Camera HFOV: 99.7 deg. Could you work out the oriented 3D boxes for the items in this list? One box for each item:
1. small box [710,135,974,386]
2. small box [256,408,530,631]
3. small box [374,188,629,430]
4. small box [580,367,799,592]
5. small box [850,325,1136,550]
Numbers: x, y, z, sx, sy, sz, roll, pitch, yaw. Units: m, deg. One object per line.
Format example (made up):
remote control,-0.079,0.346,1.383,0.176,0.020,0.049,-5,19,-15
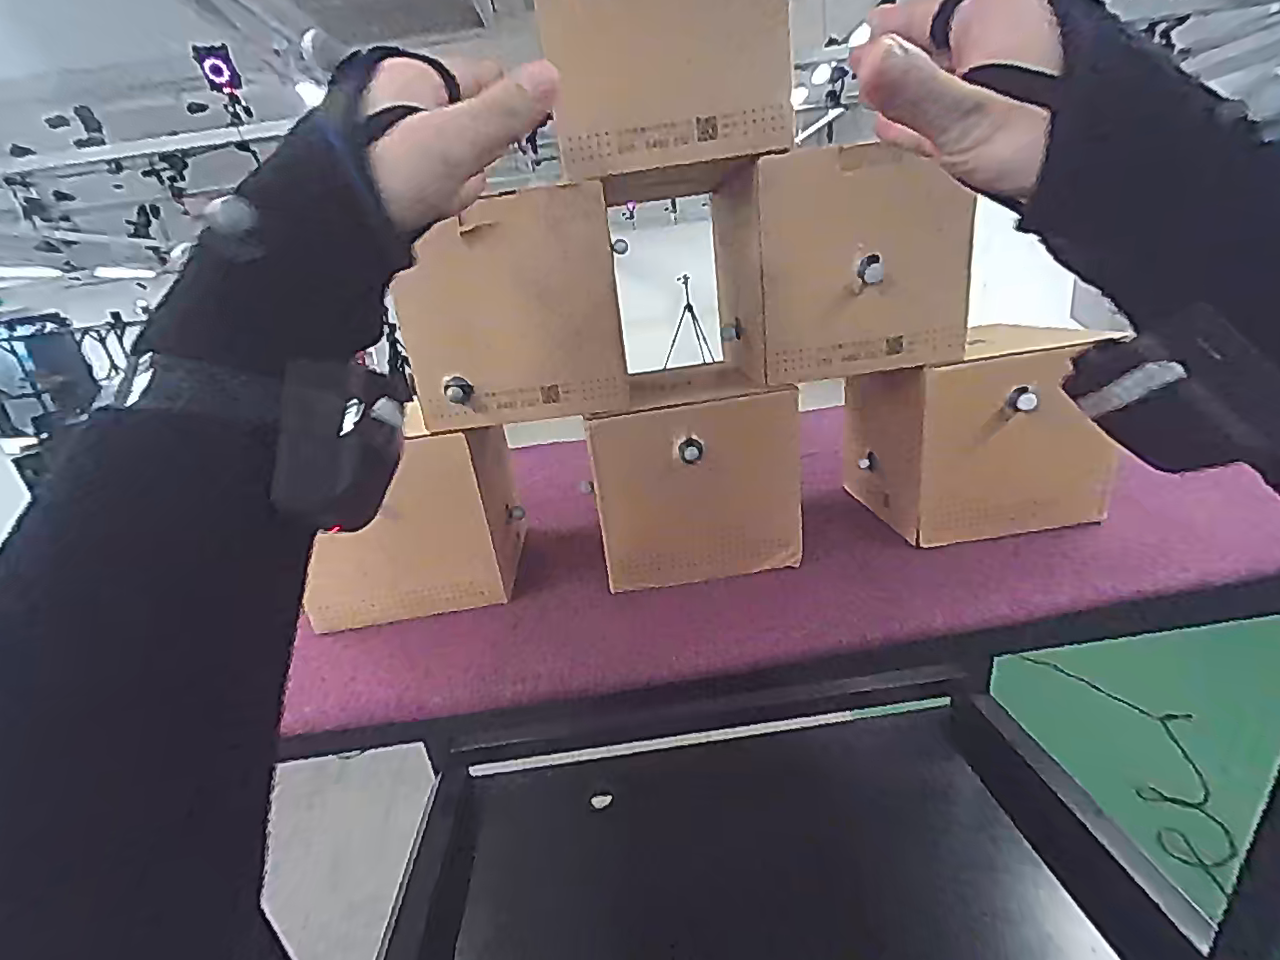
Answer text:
small box,0.165,-0.183,0.487,0.168,0.176,0.179,-9,21,-1
small box,-0.220,0.029,0.537,0.179,0.176,0.168,-9,21,-2
small box,-0.101,-0.145,0.486,0.168,0.176,0.179,-7,20,1
small box,0.046,-0.006,0.530,0.179,0.176,0.168,-8,20,0
small box,0.321,-0.048,0.535,0.179,0.176,0.168,-10,20,0
